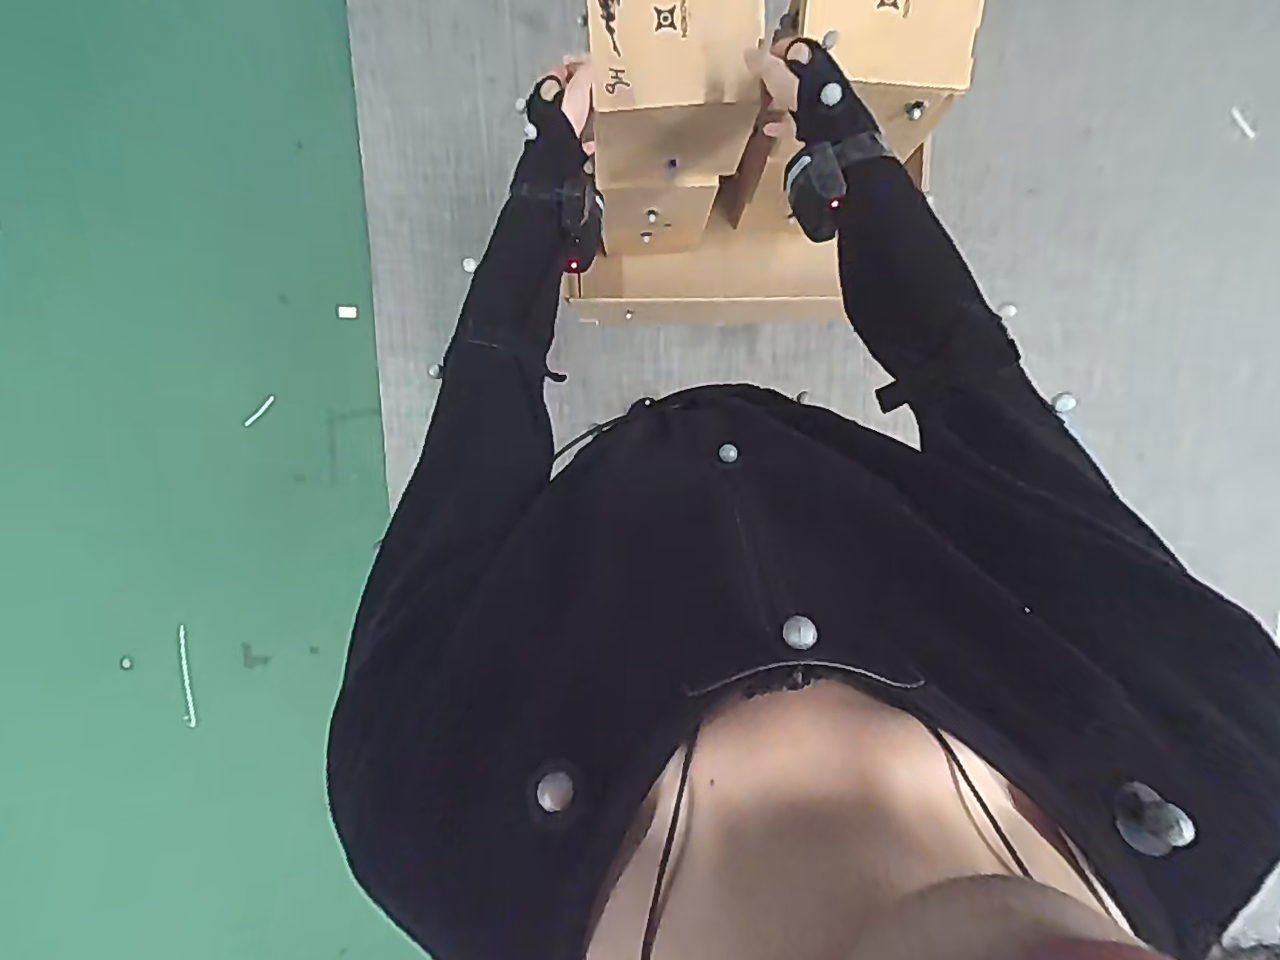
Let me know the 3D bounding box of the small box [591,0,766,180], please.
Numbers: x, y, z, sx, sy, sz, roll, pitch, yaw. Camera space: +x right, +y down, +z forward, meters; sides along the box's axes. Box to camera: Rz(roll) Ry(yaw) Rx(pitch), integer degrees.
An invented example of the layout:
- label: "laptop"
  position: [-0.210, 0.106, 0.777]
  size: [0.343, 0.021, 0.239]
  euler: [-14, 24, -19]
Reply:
- label: "small box"
  position: [0.038, -0.467, 0.621]
  size: [0.179, 0.176, 0.168]
  euler: [-2, 97, 1]
